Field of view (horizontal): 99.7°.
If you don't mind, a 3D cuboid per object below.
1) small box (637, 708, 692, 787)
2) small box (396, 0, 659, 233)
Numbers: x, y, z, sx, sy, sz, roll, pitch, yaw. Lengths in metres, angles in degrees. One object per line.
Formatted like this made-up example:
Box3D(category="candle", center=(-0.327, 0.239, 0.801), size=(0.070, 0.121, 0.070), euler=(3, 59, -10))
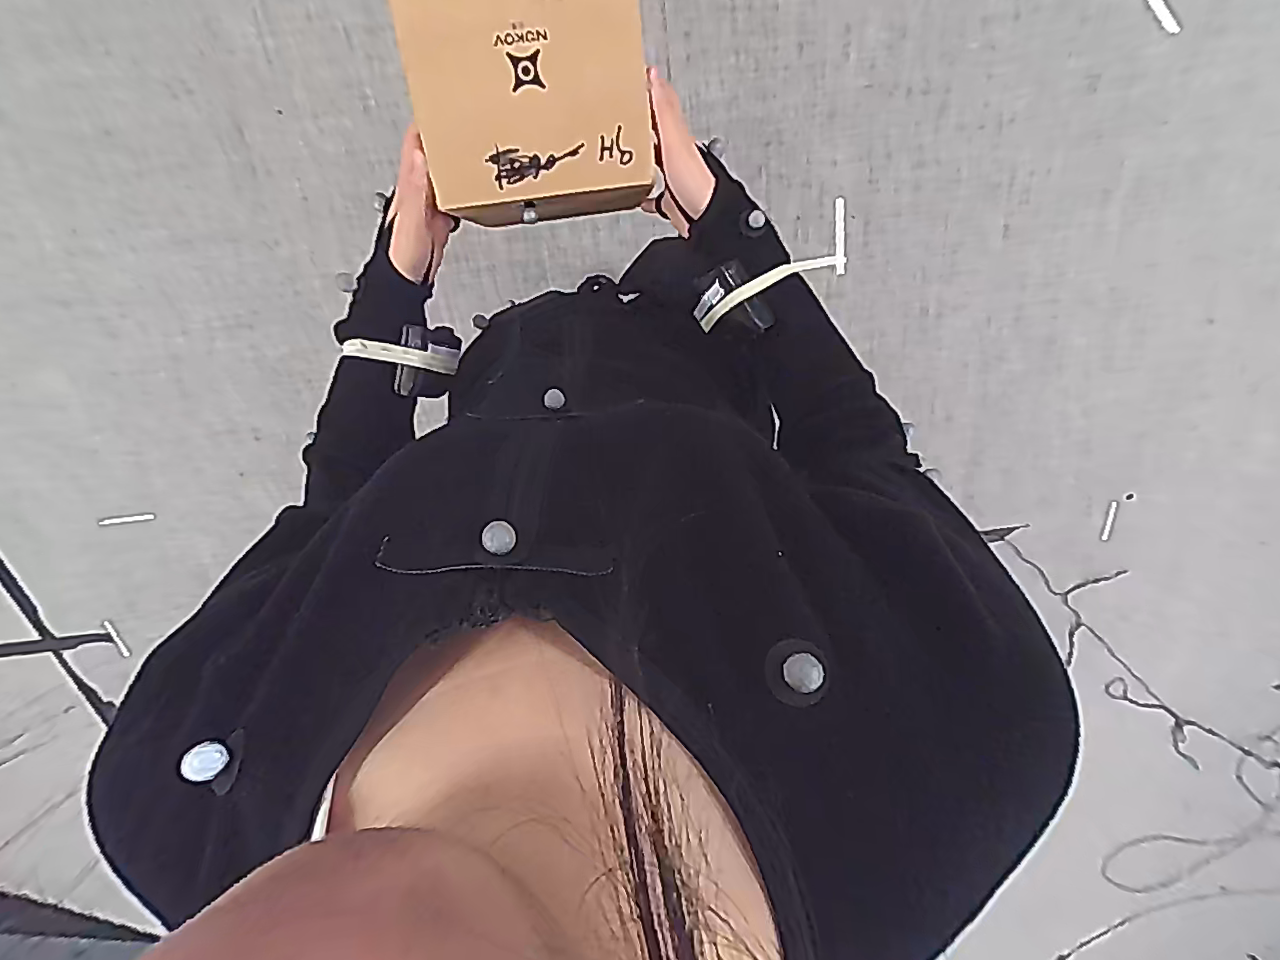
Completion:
Box3D(category="small box", center=(0.083, 0.924, 1.876), size=(0.168, 0.176, 0.179), euler=(-8, 113, 0))
Box3D(category="small box", center=(-0.082, -0.314, 0.446), size=(0.168, 0.176, 0.179), euler=(-8, 111, -2))
